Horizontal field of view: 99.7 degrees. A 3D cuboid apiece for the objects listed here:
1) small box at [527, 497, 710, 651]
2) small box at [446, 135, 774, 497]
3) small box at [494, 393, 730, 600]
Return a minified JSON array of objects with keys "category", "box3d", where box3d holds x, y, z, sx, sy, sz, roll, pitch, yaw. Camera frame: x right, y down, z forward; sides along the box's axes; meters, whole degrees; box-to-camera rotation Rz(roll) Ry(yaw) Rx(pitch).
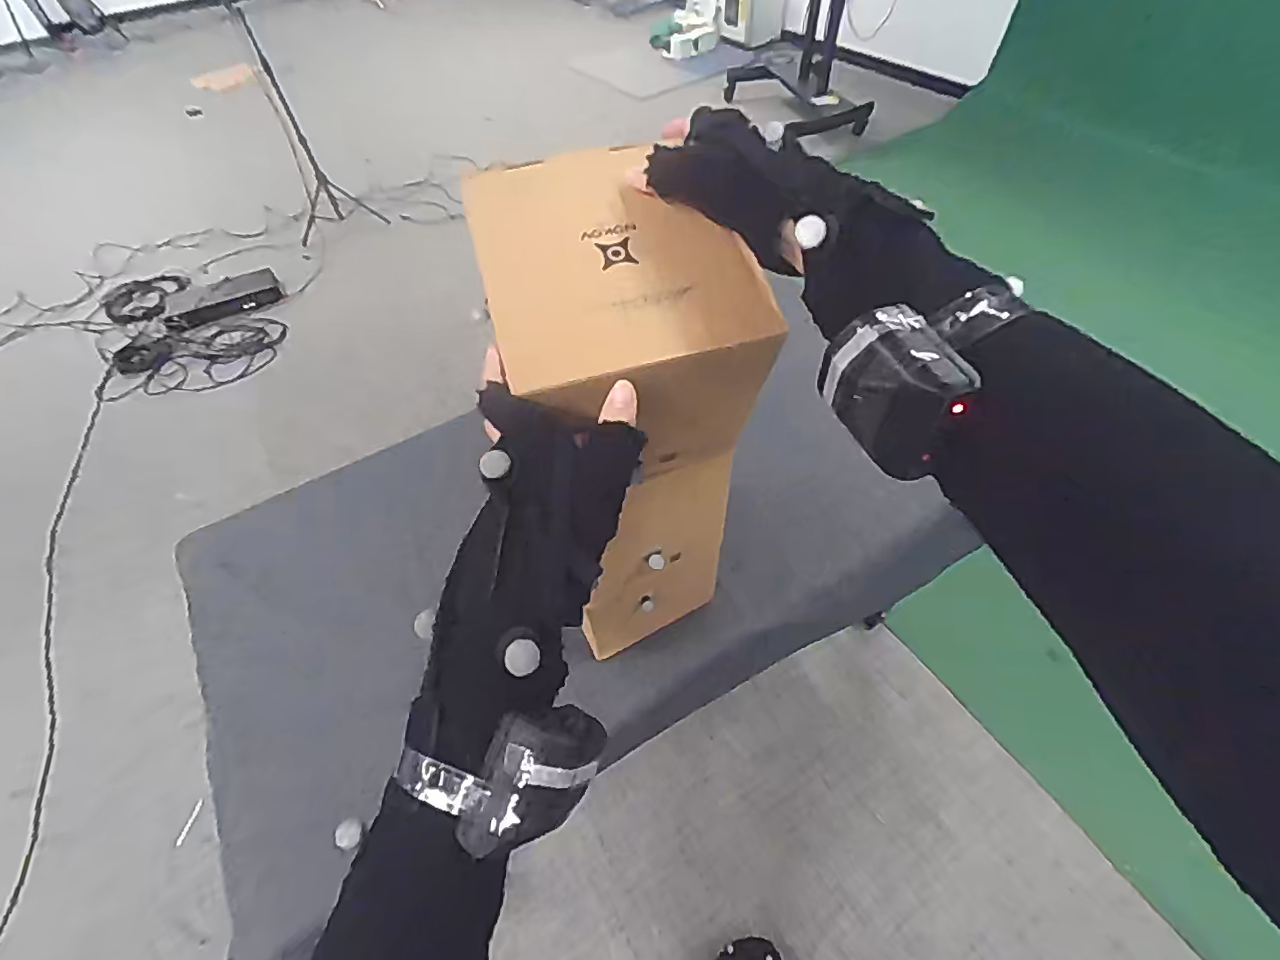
[{"category":"small box","box3d":[-0.019,0.089,0.693,0.179,0.176,0.168,-26,55,-14]},{"category":"small box","box3d":[-0.026,-0.109,0.404,0.168,0.176,0.179,-16,70,-7]},{"category":"small box","box3d":[-0.027,-0.010,0.562,0.168,0.176,0.179,-27,54,-16]}]
